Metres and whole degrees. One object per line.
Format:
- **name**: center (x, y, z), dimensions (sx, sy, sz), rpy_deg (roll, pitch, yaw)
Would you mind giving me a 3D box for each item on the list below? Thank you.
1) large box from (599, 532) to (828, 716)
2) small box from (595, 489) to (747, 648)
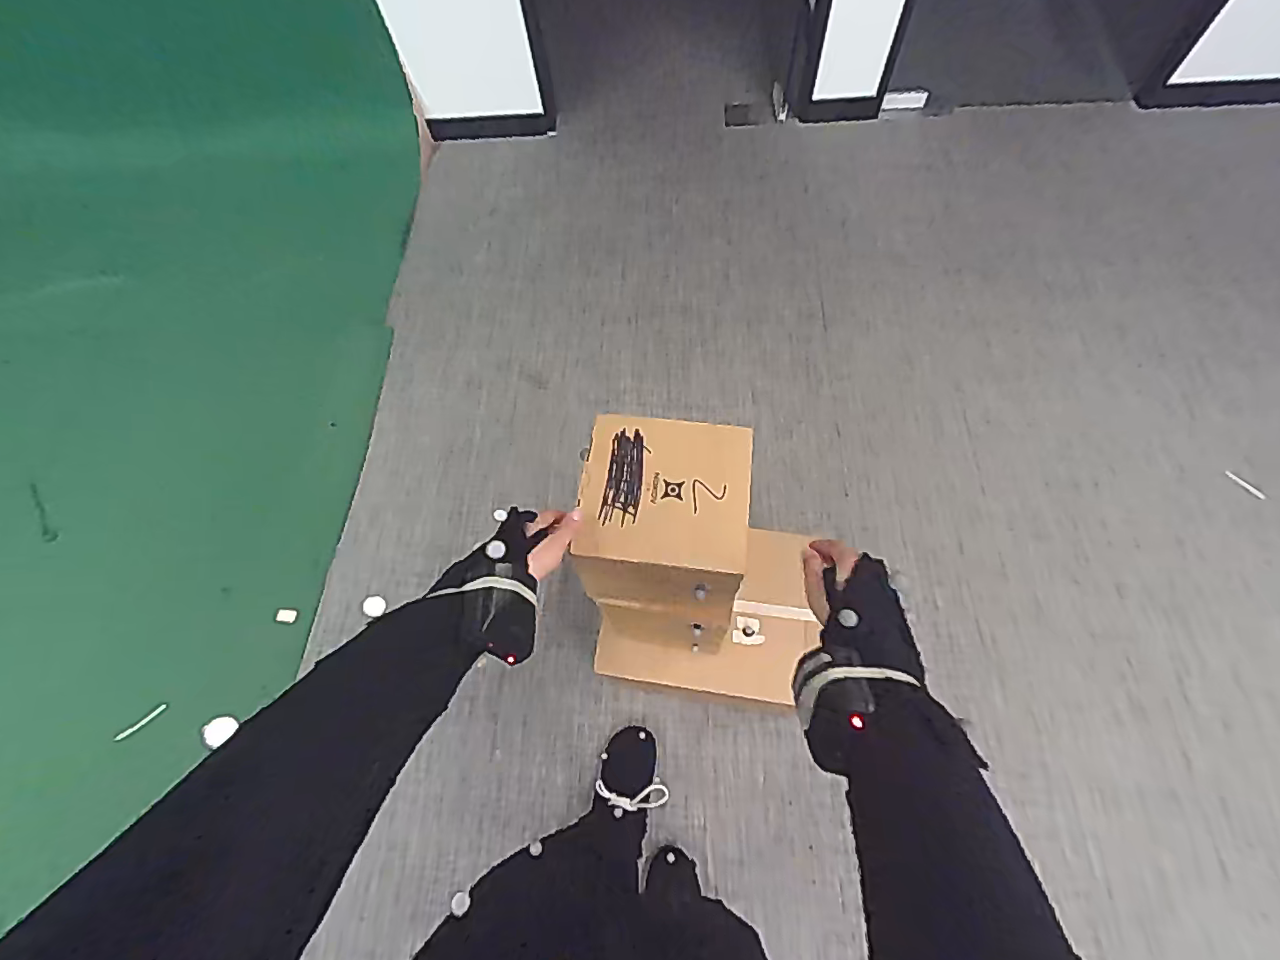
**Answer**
- **large box**: center (0.146, 0.297, 1.130), dimensions (0.408, 0.320, 0.320), rpy_deg (7, 66, 6)
- **small box**: center (0.047, 0.132, 0.766), dimensions (0.179, 0.176, 0.168), rpy_deg (9, 64, 7)
